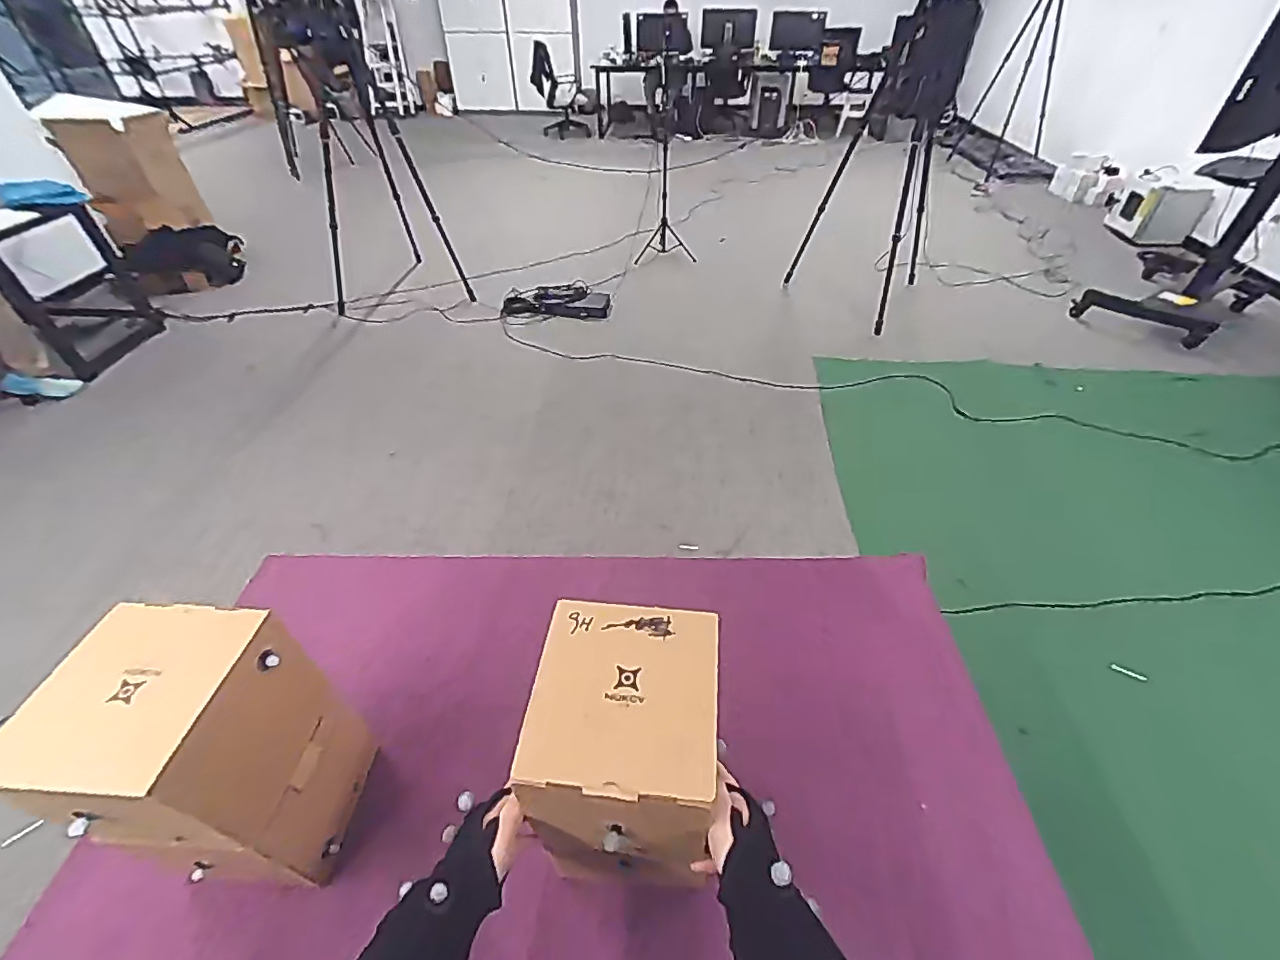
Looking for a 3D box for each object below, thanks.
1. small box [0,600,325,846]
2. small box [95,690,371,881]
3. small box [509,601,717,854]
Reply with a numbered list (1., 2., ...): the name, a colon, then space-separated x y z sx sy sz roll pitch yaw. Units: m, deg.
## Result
1. small box: -0.459 0.245 0.546 0.168 0.176 0.179 2 42 3
2. small box: -0.461 0.366 0.654 0.179 0.176 0.168 1 43 2
3. small box: -0.013 0.246 0.539 0.168 0.176 0.179 4 44 5
